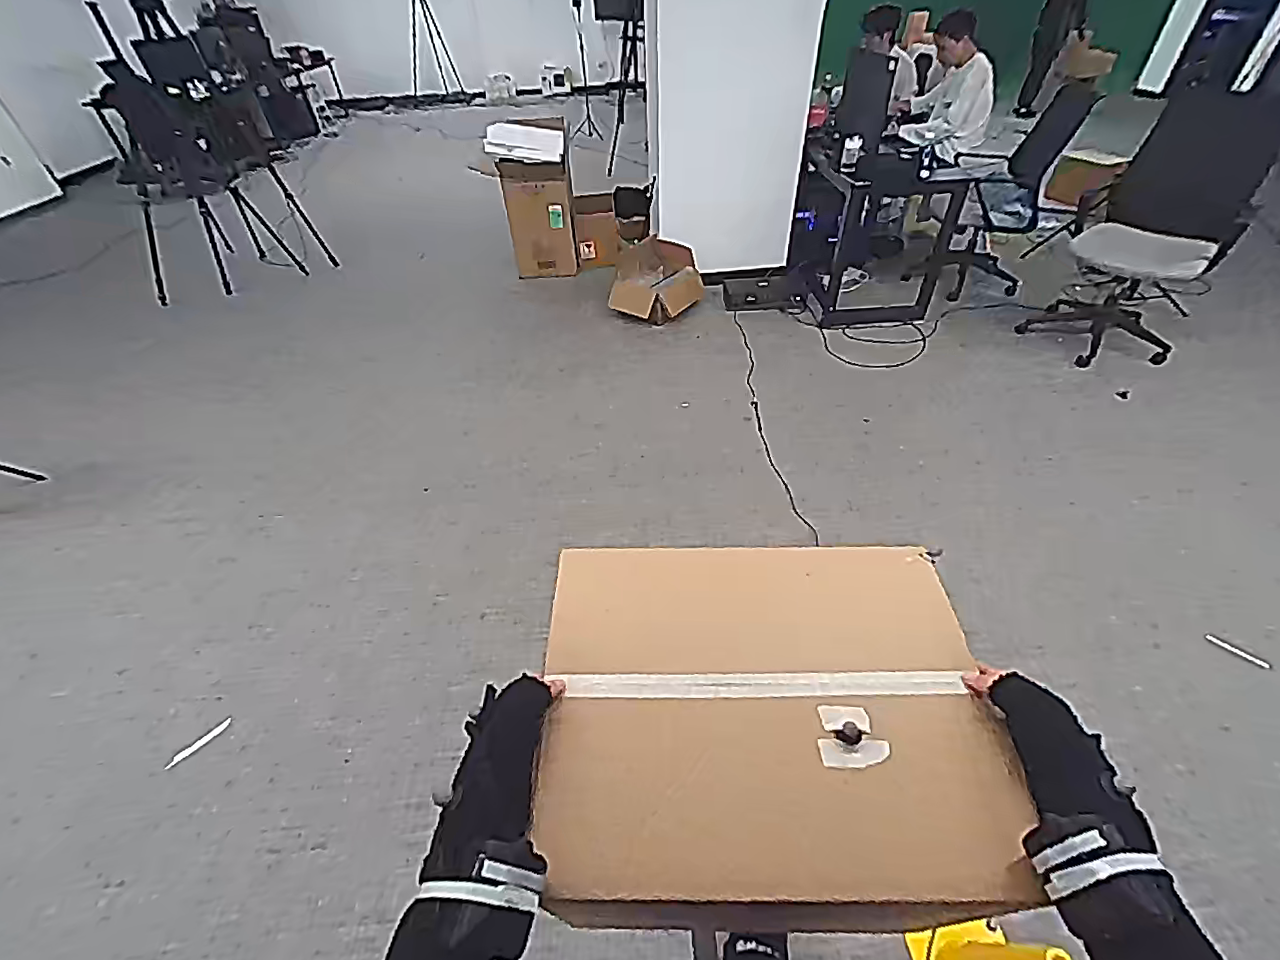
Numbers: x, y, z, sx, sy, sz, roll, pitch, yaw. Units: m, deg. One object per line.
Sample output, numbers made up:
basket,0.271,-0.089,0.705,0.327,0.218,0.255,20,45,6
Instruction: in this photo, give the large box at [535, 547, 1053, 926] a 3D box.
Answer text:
large box,0.116,0.292,0.616,0.408,0.320,0.320,0,47,1
